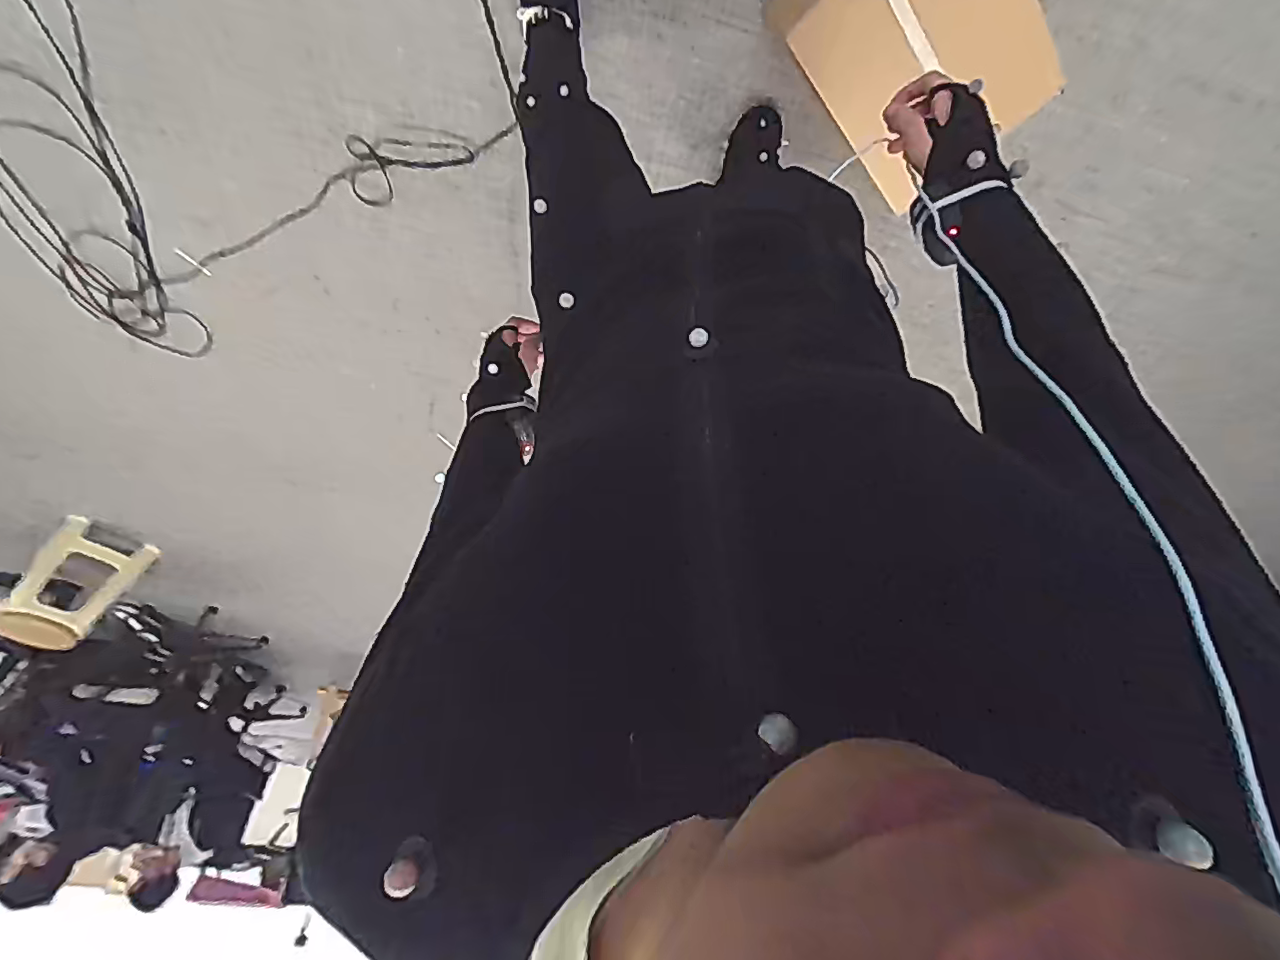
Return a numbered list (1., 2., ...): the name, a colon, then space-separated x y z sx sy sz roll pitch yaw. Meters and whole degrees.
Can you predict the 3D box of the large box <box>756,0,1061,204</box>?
1. large box: 0.477 -0.829 1.011 0.408 0.320 0.320 34 128 -30
